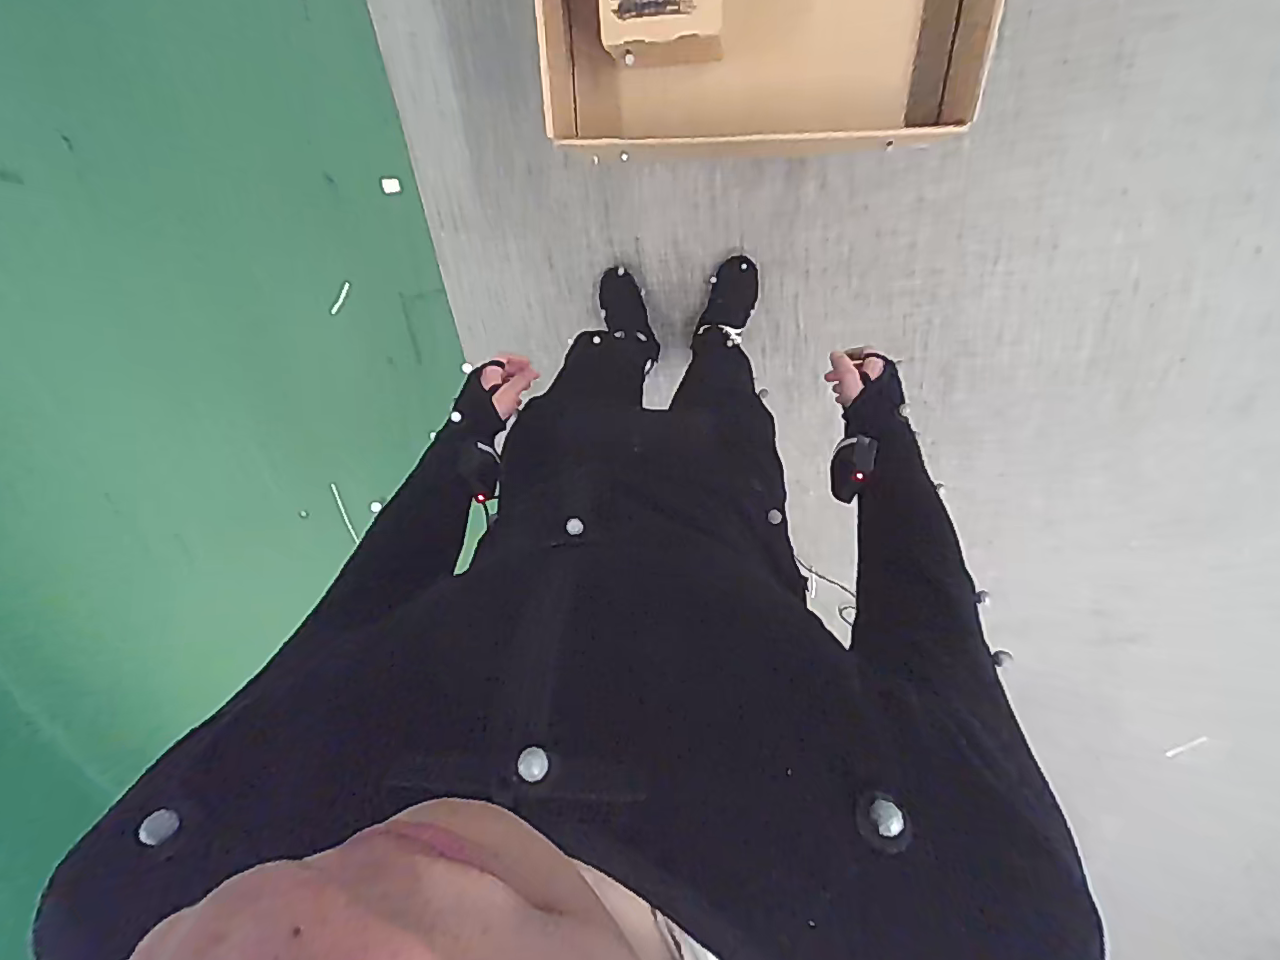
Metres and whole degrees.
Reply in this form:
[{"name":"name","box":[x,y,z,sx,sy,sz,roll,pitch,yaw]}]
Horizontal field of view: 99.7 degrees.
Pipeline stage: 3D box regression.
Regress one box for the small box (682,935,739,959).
[{"name":"small box","box":[0.209,1.483,1.587,0.168,0.176,0.179,-1,119,11]}]
